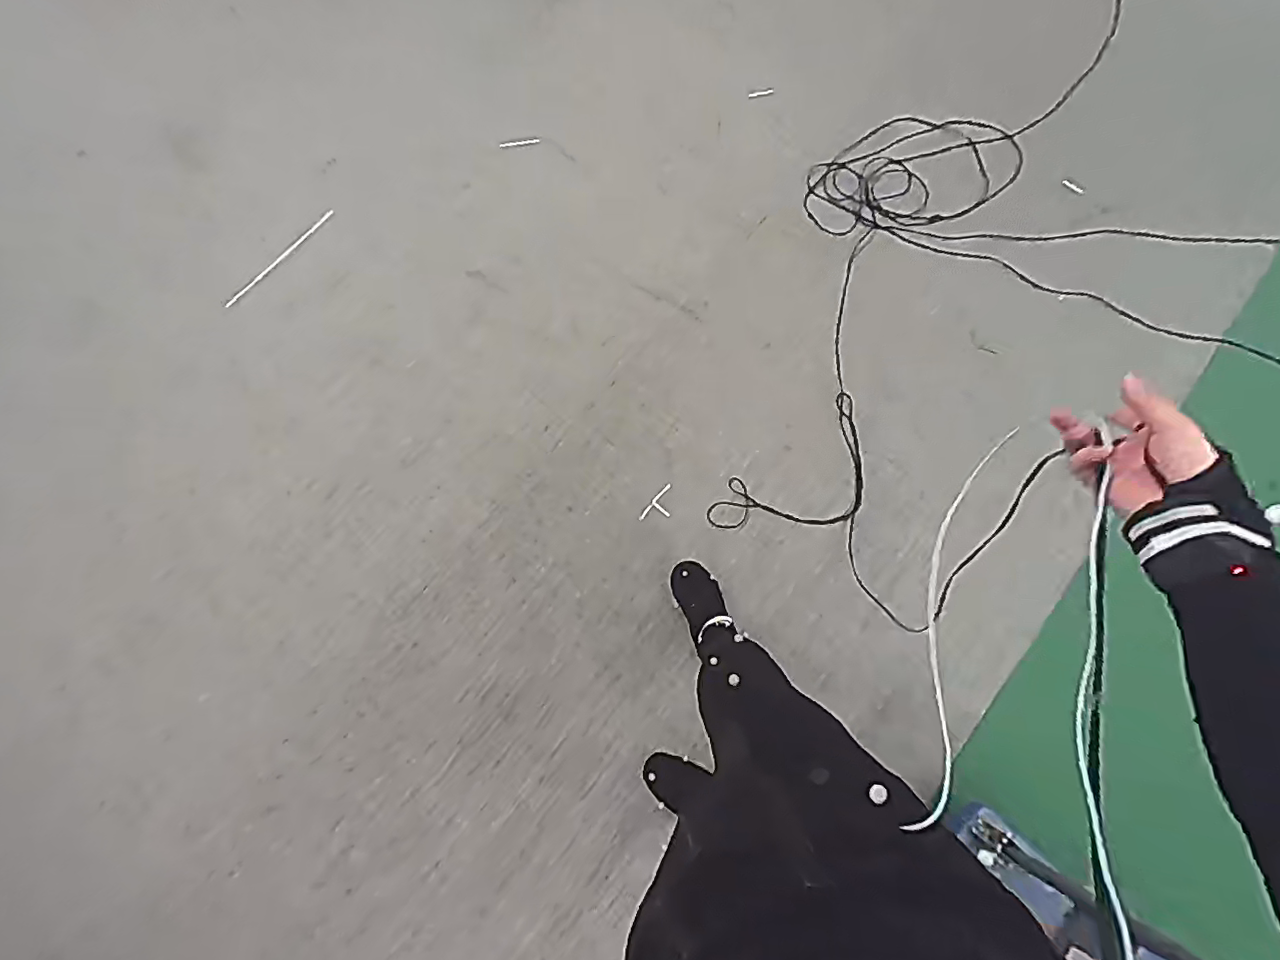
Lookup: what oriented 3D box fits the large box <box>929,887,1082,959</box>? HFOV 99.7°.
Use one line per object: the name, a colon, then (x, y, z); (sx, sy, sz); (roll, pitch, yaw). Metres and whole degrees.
large box: (0.739, 1.026, 0.908); (0.408, 0.320, 0.320); (43, 80, 11)
